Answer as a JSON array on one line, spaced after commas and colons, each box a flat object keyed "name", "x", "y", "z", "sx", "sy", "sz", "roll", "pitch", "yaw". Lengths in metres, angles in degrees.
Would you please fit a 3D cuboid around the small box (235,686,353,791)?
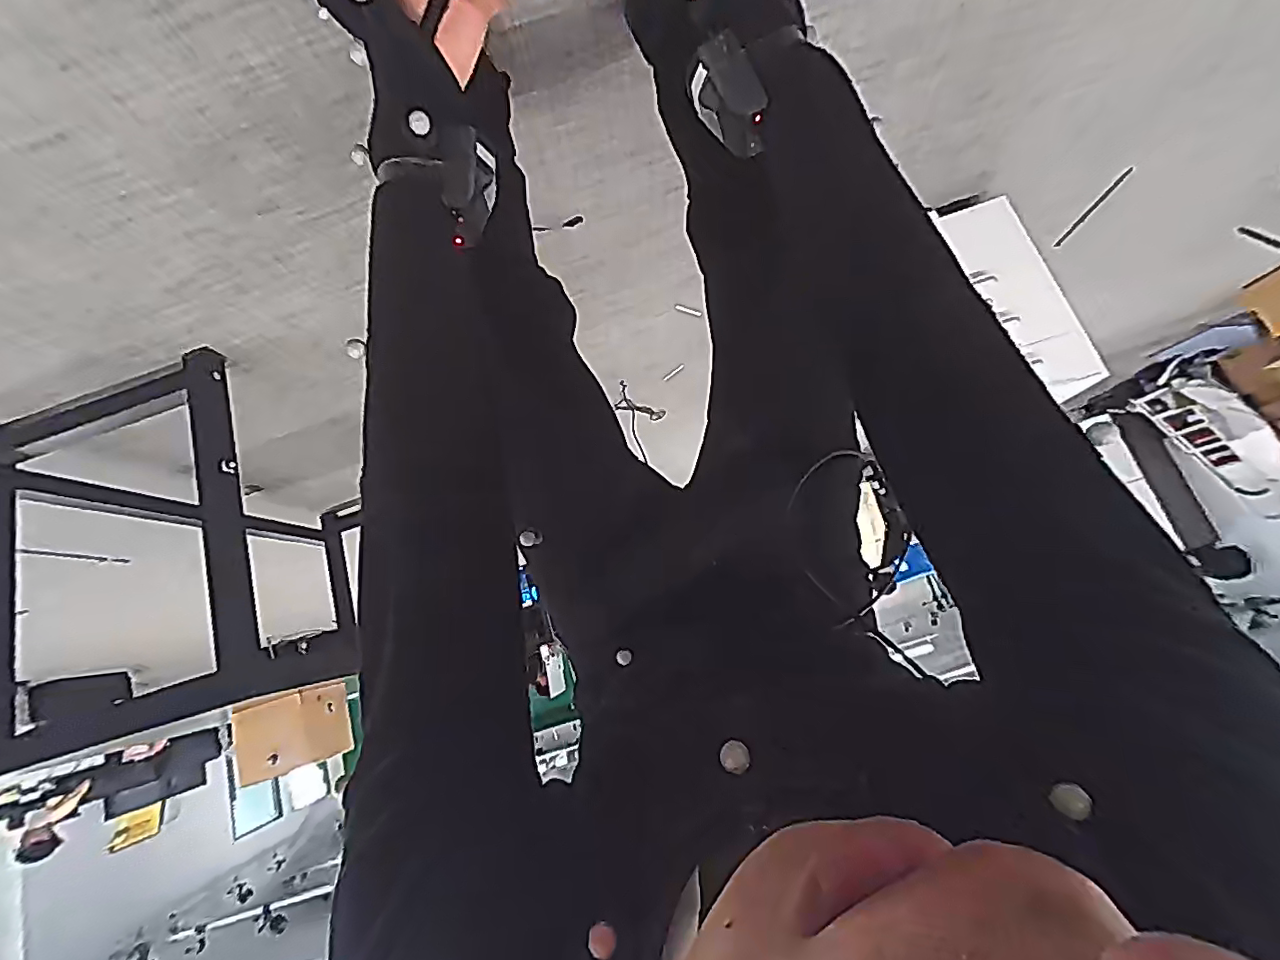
[{"name": "small box", "x": -0.821, "y": 0.604, "z": 1.284, "sx": 0.179, "sy": 0.176, "sz": 0.168, "roll": -18, "pitch": 166, "yaw": 2}]
